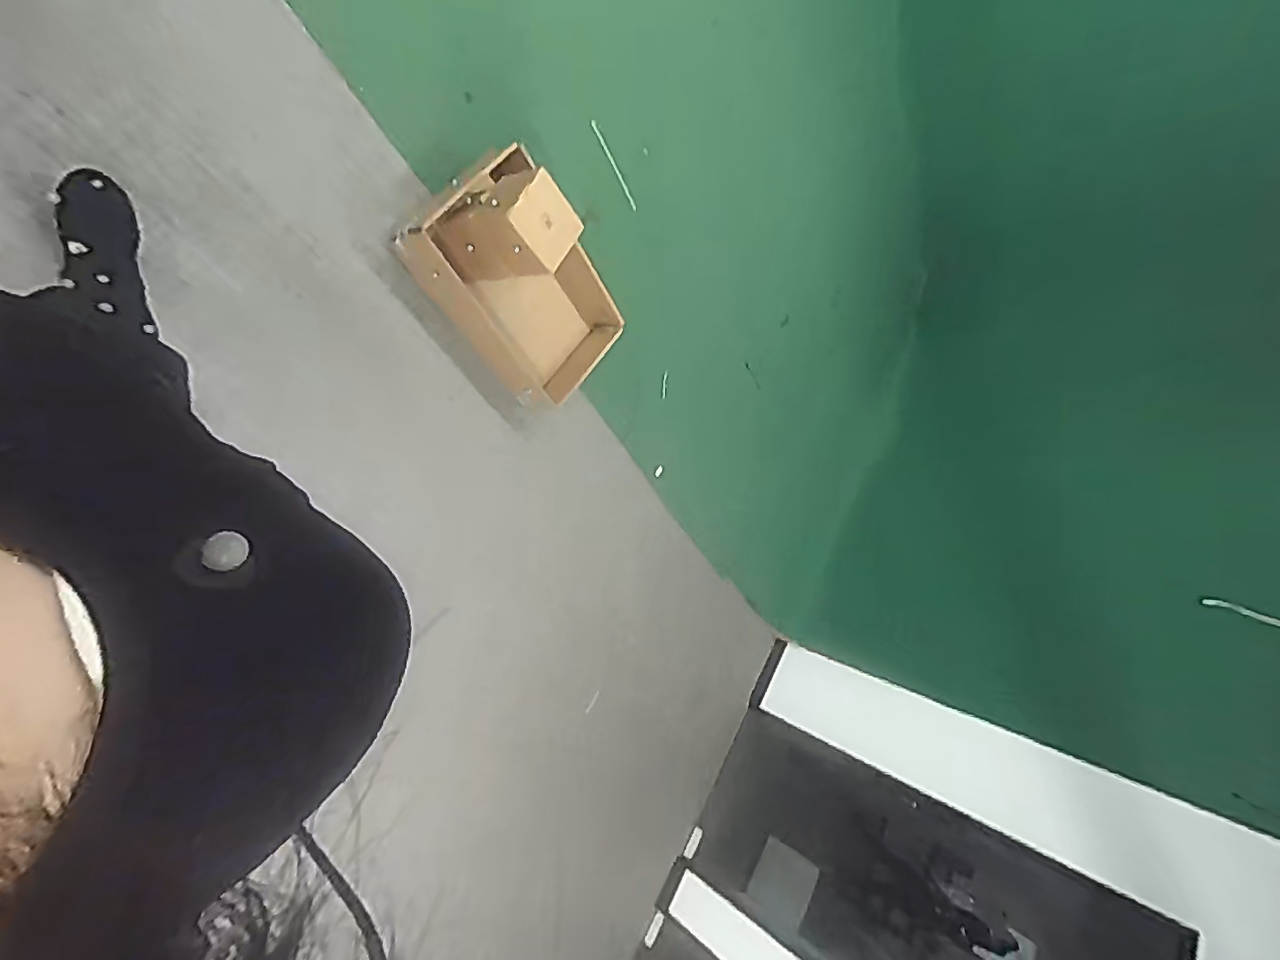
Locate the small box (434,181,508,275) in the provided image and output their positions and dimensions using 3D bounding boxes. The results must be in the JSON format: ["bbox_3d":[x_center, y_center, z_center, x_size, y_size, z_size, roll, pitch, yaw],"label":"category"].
[{"bbox_3d":[-0.414,-0.672,1.451,0.168,0.176,0.179,-54,135,-22],"label":"small box"}]

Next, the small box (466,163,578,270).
[{"bbox_3d":[-0.295,-0.642,1.342,0.179,0.176,0.168,45,69,-48],"label":"small box"}]
